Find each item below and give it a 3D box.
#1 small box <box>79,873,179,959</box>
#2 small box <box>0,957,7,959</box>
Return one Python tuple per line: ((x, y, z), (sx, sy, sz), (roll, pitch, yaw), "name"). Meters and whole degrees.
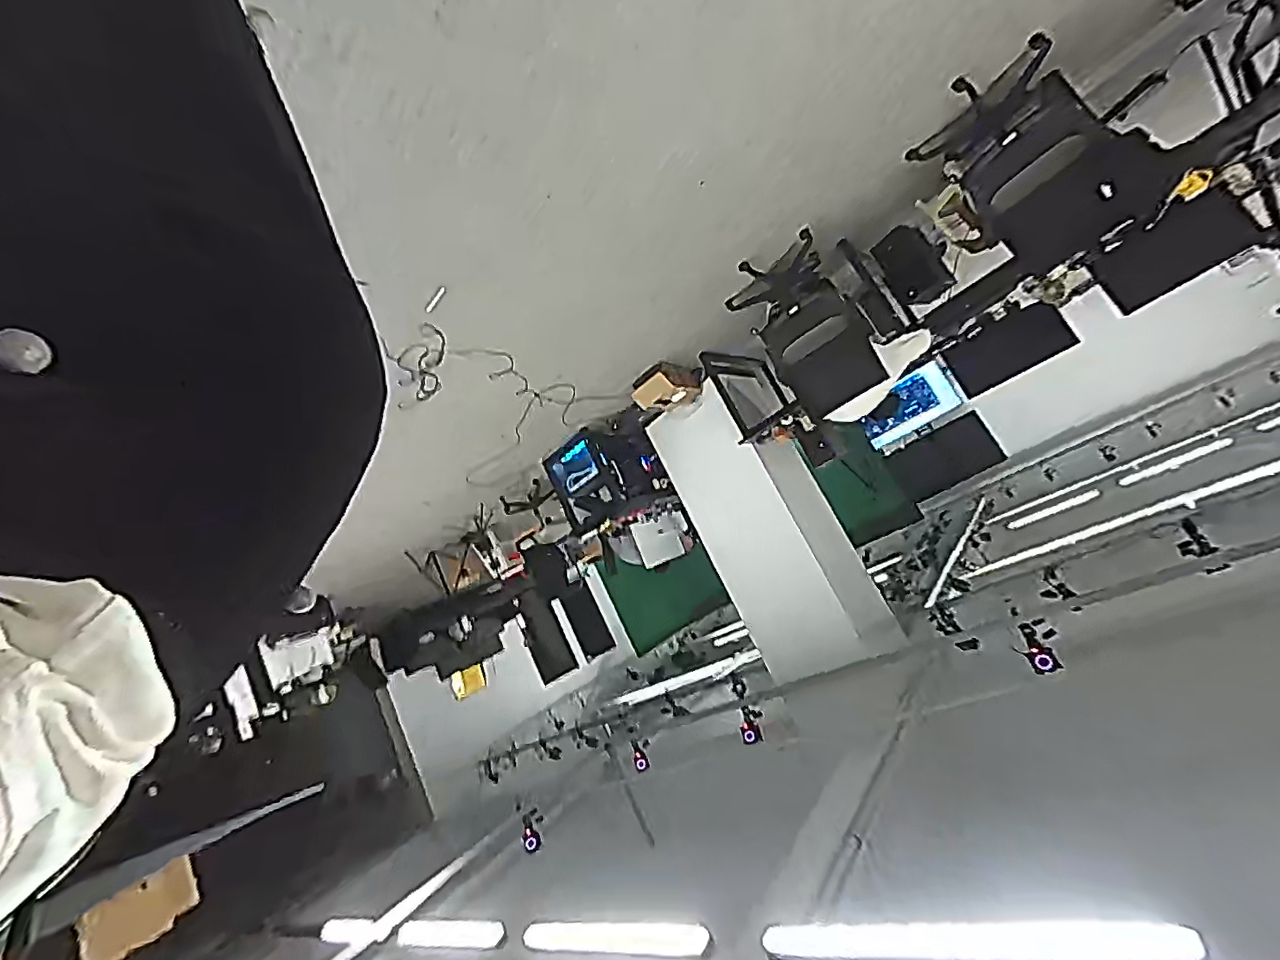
((-1.463, 1.262, 1.544), (0.179, 0.176, 0.168), (-33, 167, 33), "small box")
((-1.633, 1.294, 1.296), (0.179, 0.176, 0.168), (-33, 168, 32), "small box")
